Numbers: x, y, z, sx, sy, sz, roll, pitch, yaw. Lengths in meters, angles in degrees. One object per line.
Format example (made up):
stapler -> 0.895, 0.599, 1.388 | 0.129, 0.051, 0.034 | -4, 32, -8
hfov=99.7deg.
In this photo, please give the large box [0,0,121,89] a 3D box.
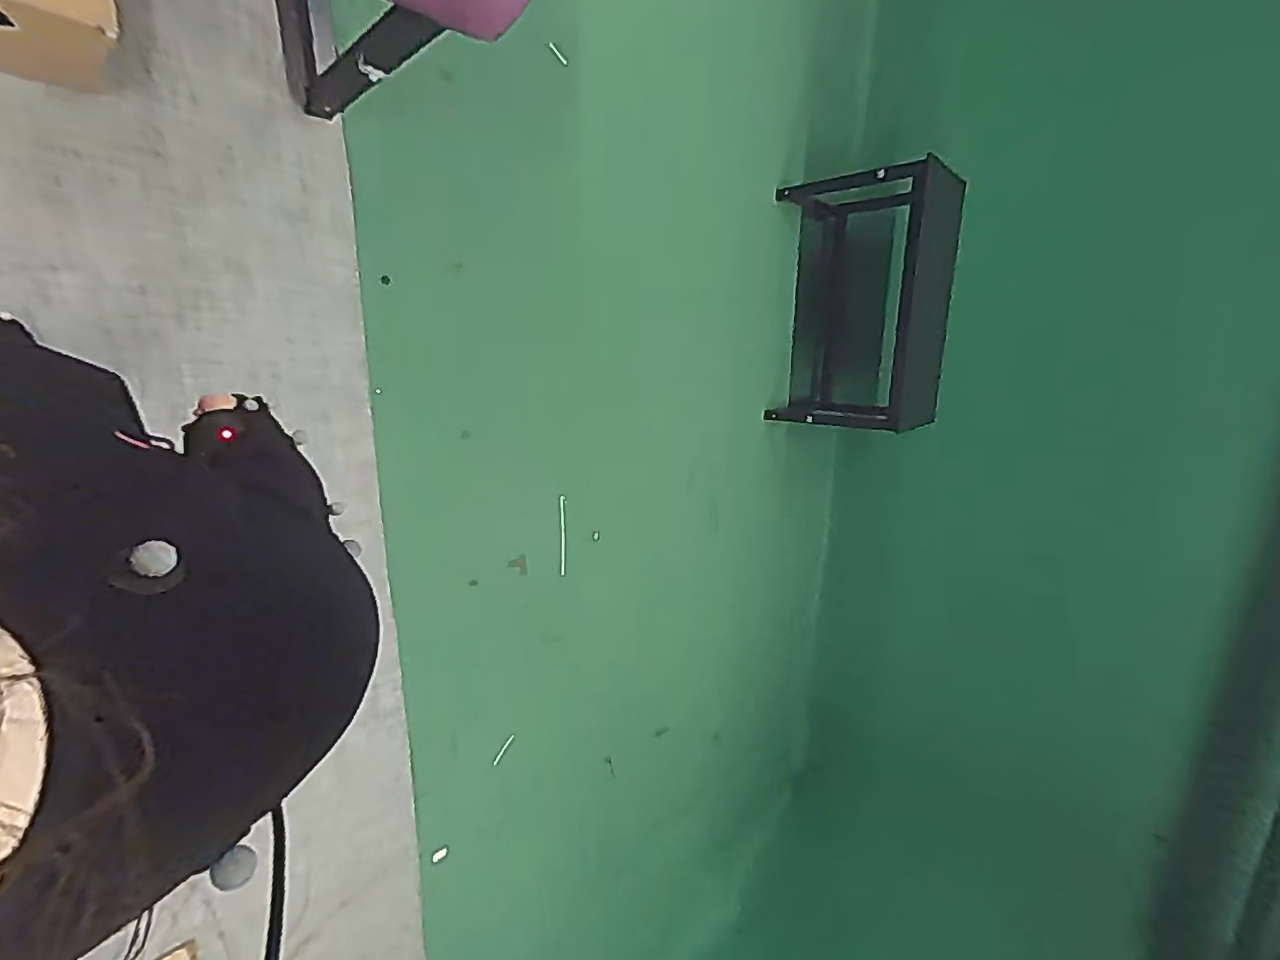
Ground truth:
large box -> -1.010, -0.872, 0.766 | 0.320, 0.320, 0.408 | -14, 110, -46
